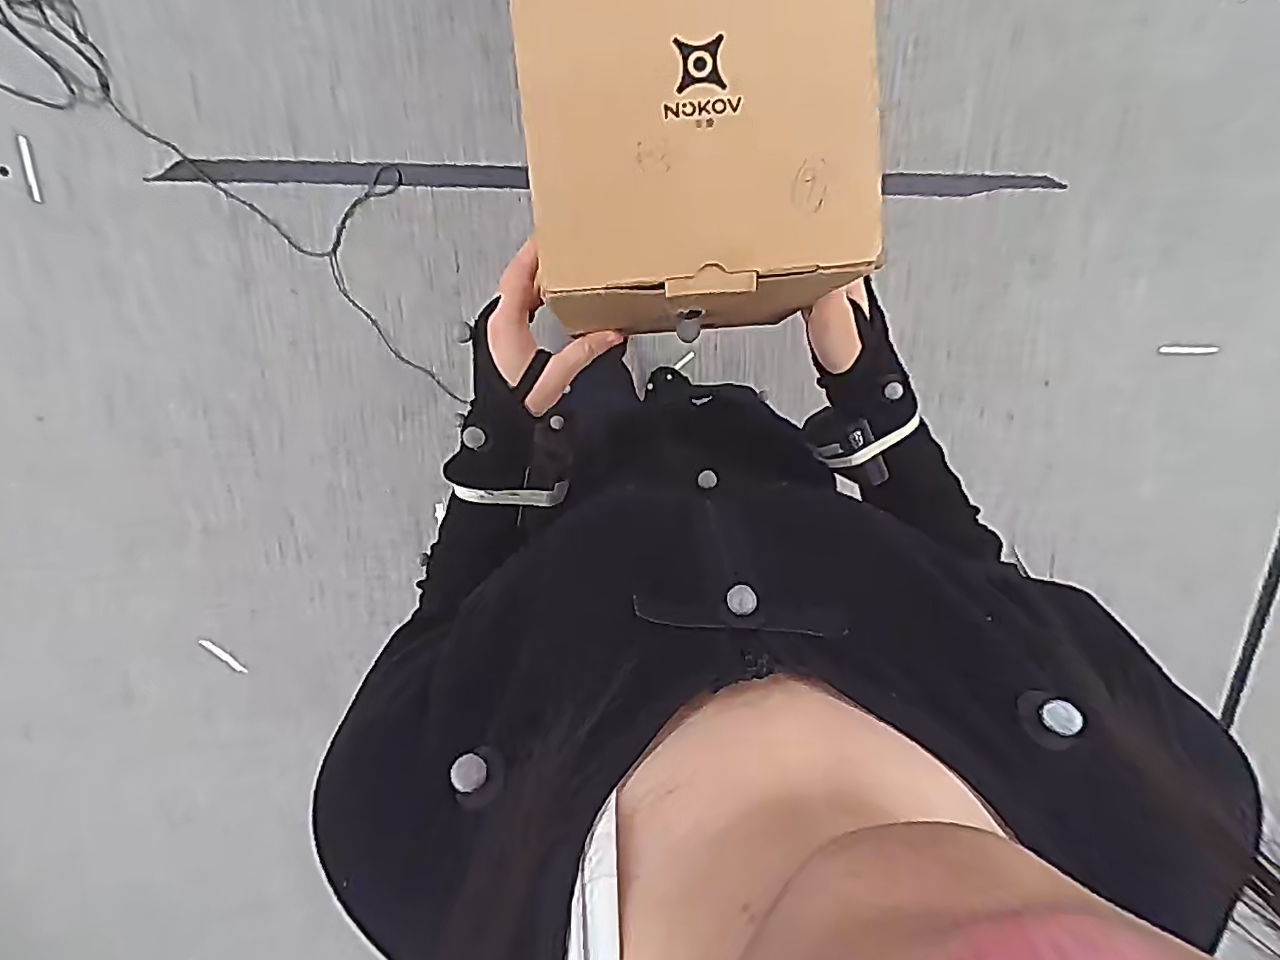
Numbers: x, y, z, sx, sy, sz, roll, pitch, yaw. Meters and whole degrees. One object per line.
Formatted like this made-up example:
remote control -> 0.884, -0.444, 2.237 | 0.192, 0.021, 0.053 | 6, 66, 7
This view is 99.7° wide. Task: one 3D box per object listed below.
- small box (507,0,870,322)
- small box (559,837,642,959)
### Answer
small box -> 0.022, -0.196, 0.328 | 0.168, 0.176, 0.179 | -5, 98, -1
small box -> -0.080, 0.915, 1.170 | 0.168, 0.176, 0.179 | 0, 103, -1
